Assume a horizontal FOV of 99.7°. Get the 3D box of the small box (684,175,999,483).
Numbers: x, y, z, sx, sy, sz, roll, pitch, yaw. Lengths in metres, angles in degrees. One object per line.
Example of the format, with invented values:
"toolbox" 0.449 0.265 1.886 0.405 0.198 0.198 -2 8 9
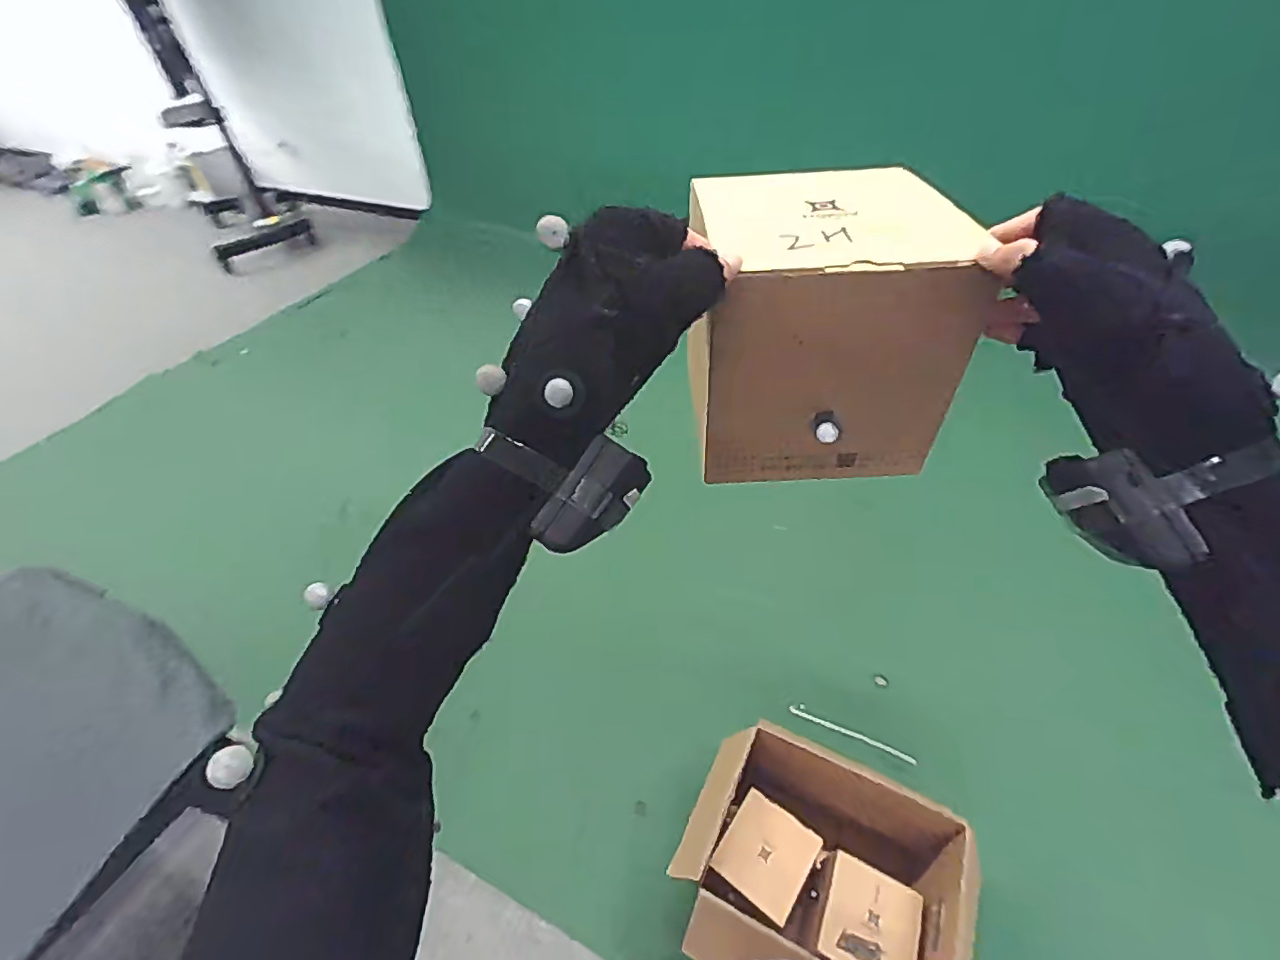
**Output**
"small box" 0.122 -0.117 0.417 0.168 0.176 0.179 -3 44 1
